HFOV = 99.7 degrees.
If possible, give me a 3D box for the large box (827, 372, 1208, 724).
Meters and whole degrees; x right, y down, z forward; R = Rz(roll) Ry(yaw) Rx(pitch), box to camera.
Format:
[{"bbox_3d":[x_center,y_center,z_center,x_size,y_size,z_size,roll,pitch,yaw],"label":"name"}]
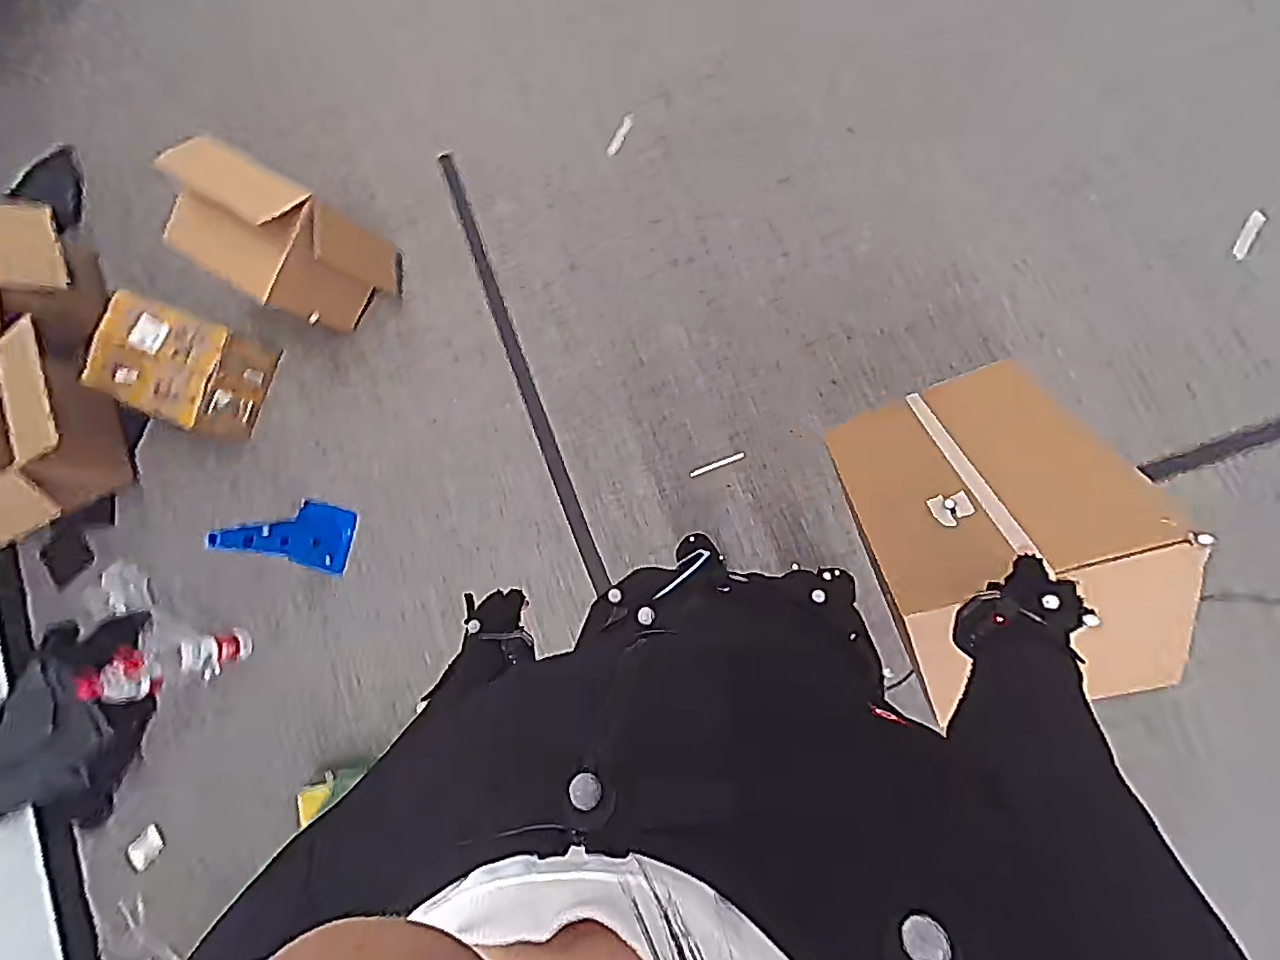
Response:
[{"bbox_3d":[0.530,0.101,0.851,0.320,0.320,0.408,-21,37,17],"label":"large box"}]
